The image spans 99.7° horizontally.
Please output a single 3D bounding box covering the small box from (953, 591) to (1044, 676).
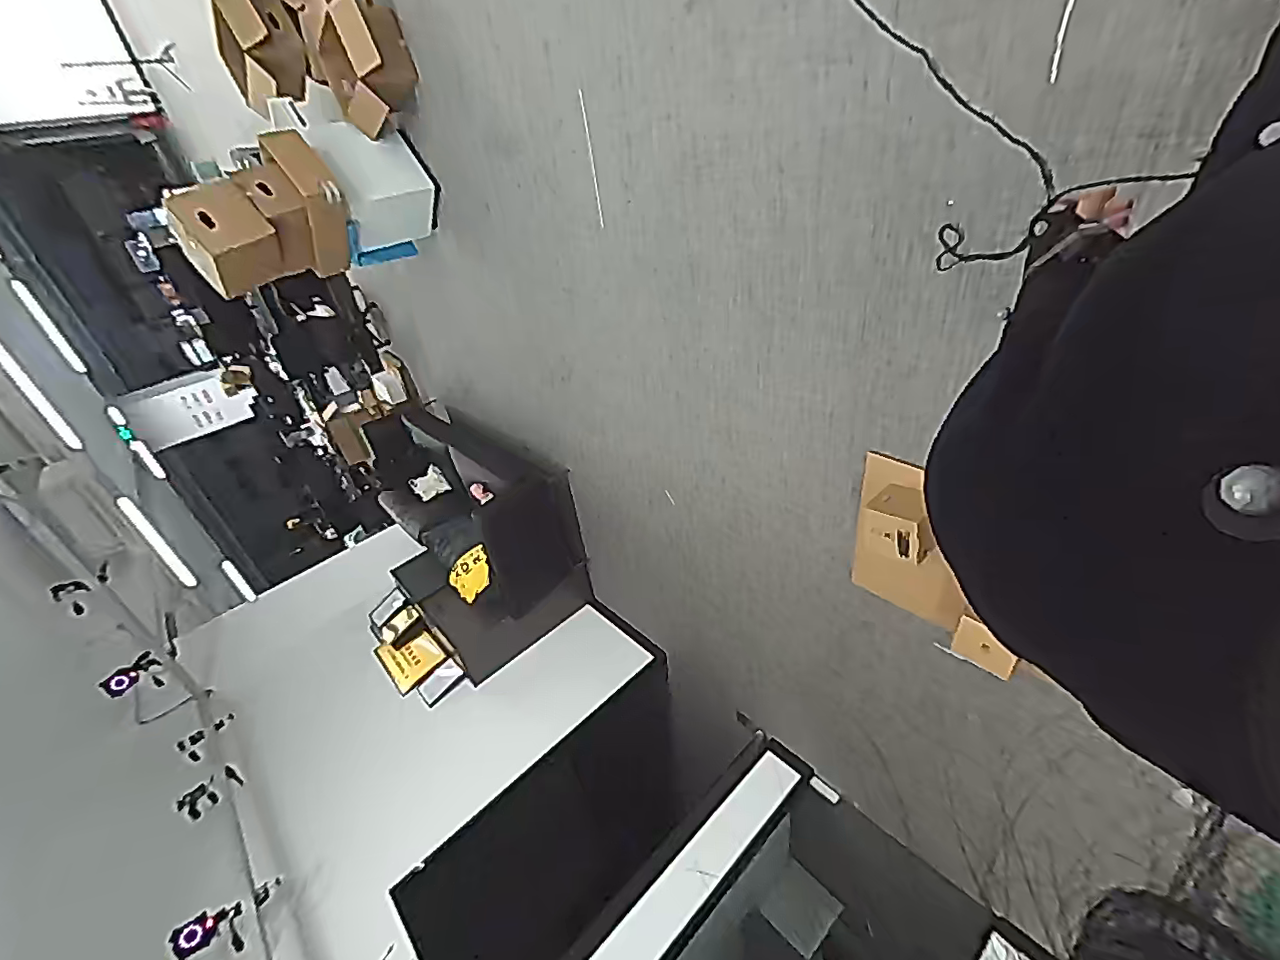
[{"bbox_3d":[1.090,0.447,1.642,0.168,0.176,0.179,29,140,40],"label":"small box"}]
